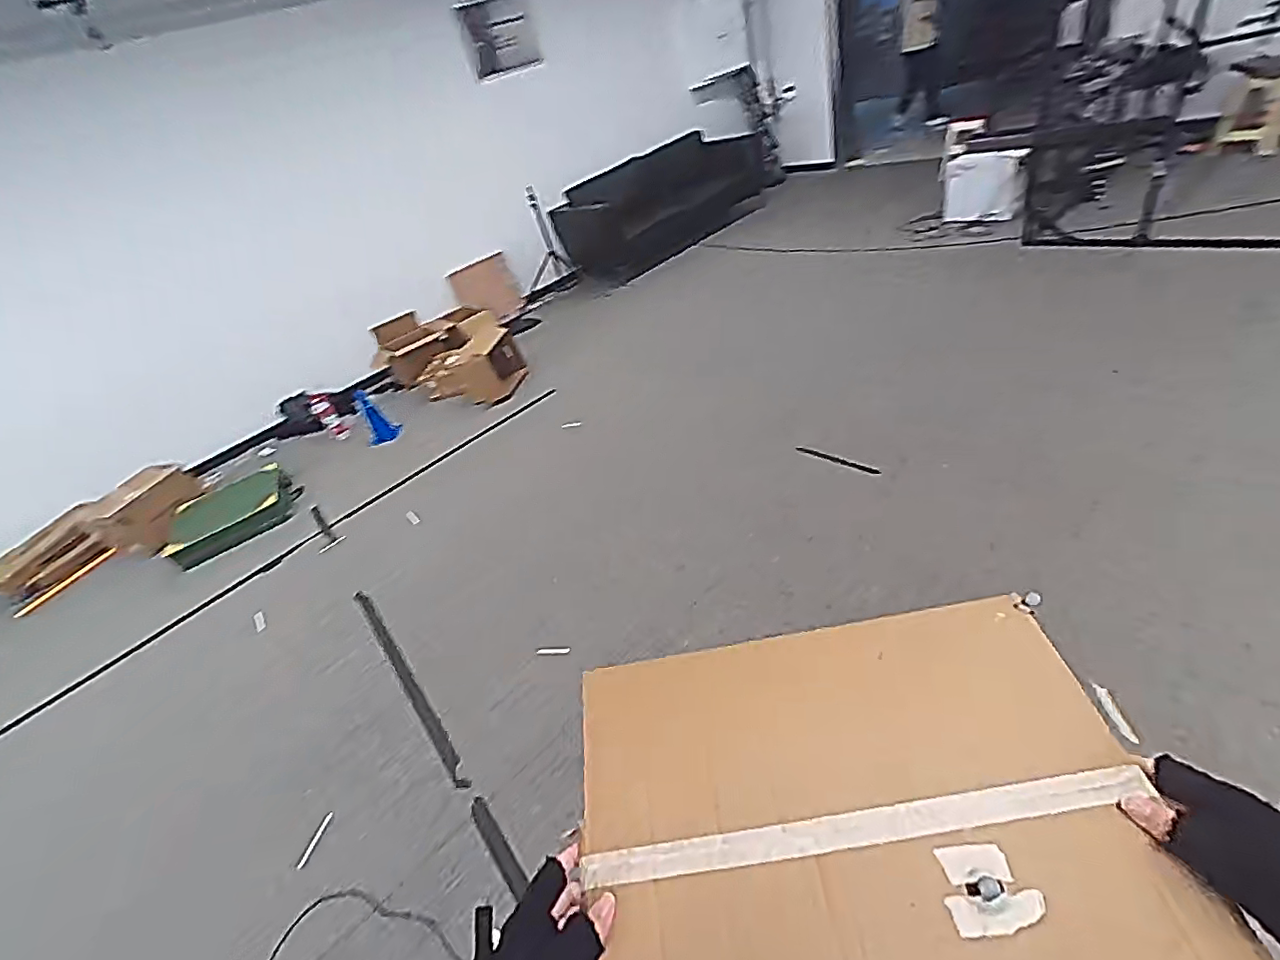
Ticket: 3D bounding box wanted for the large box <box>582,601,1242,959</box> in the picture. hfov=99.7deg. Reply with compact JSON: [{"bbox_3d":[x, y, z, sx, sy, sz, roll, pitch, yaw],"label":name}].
[{"bbox_3d":[0.181,0.364,0.508,0.408,0.320,0.320,-12,45,2],"label":"large box"}]
